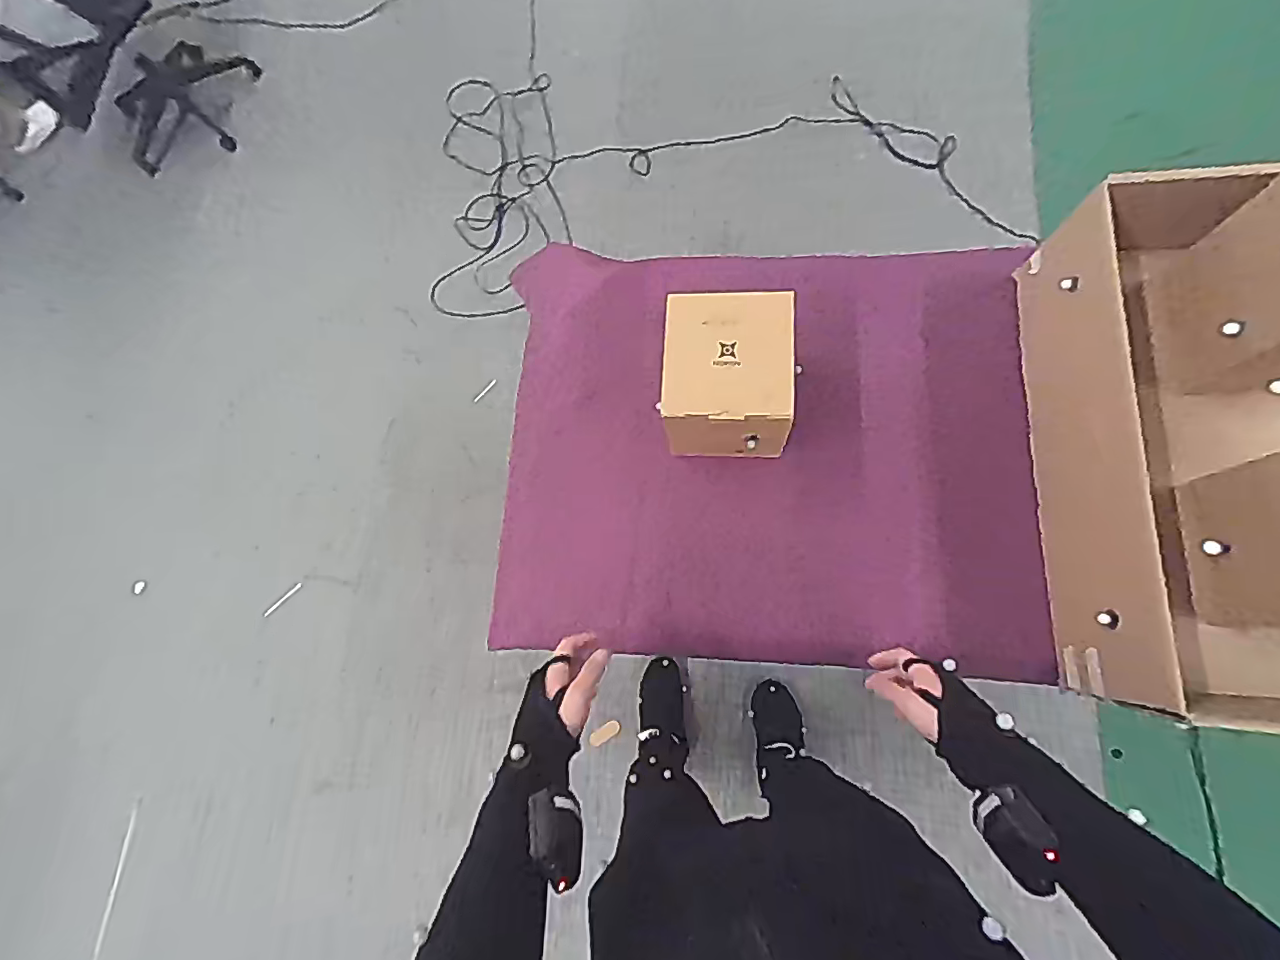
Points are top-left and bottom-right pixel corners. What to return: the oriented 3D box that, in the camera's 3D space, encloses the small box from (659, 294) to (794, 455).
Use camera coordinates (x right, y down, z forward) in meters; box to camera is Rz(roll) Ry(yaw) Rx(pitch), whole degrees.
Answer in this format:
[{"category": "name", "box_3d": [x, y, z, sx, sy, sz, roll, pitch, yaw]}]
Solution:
[{"category": "small box", "box_3d": [0.122, -0.139, 0.763, 0.168, 0.176, 0.179, 2, 76, 8]}]
